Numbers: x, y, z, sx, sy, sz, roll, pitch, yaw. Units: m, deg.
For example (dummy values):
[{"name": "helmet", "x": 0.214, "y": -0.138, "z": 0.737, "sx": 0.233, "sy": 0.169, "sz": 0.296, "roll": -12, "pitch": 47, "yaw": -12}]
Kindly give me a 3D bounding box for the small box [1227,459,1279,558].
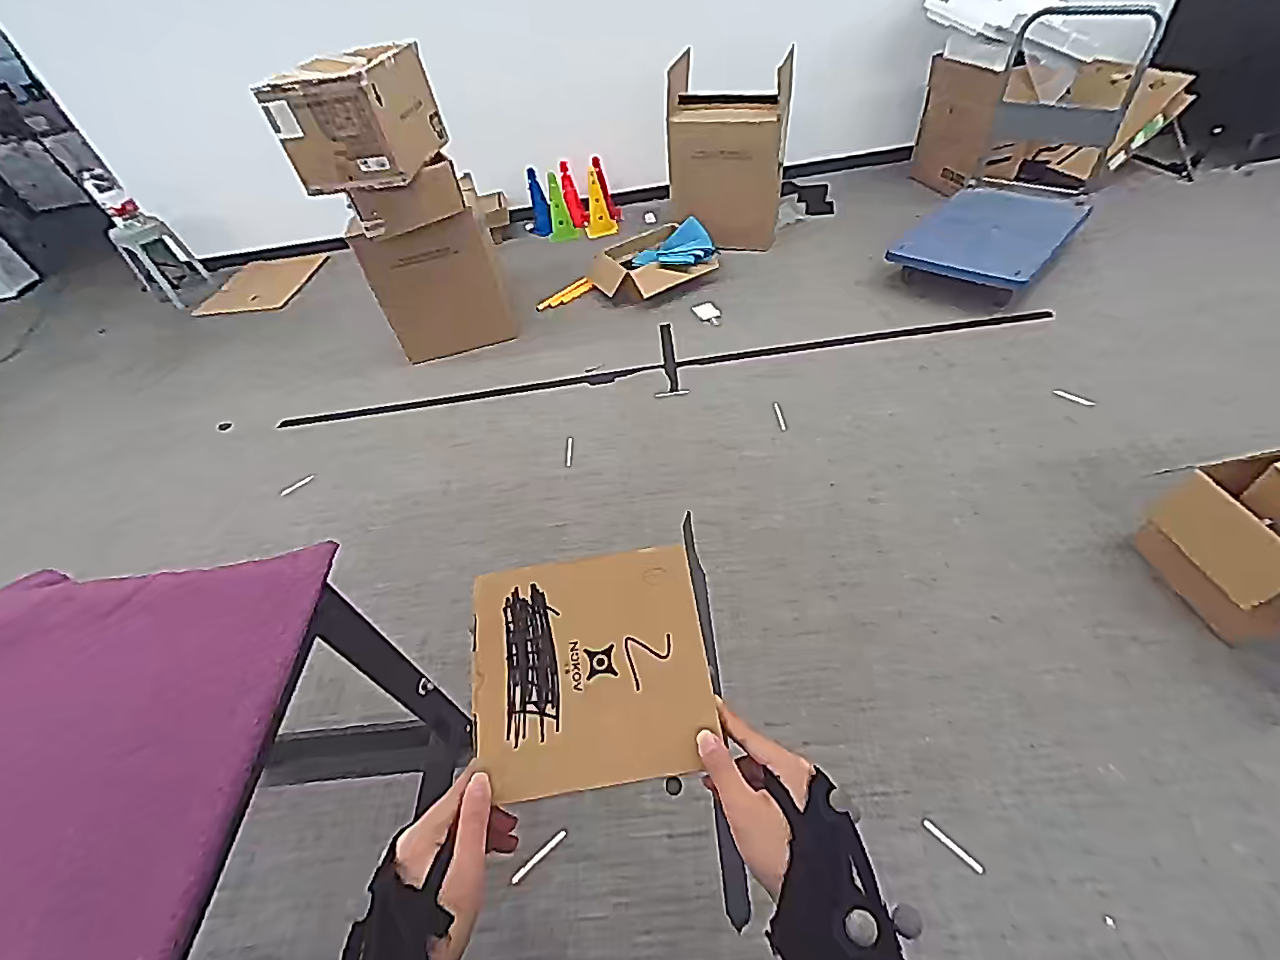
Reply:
[{"name": "small box", "x": 1.520, "y": 0.059, "z": 1.219, "sx": 0.179, "sy": 0.176, "sz": 0.168, "roll": -9, "pitch": 45, "yaw": 3}]
